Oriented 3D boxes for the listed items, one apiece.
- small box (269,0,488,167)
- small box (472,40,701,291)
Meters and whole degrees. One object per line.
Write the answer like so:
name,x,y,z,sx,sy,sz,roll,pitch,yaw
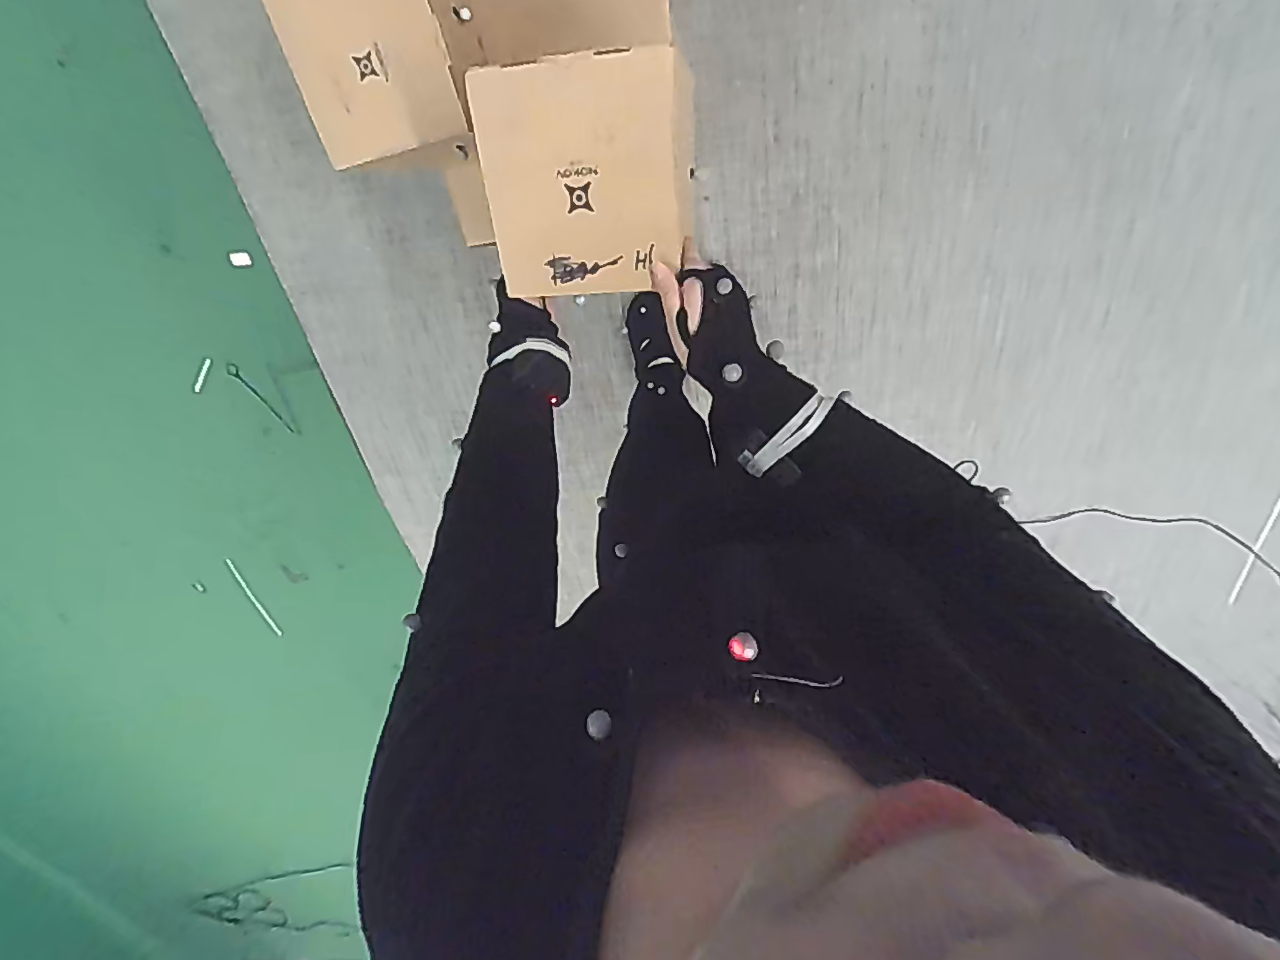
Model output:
small box,-0.279,-0.486,0.646,0.179,0.176,0.168,-8,118,10
small box,-0.034,-0.290,0.521,0.168,0.176,0.179,2,121,13
